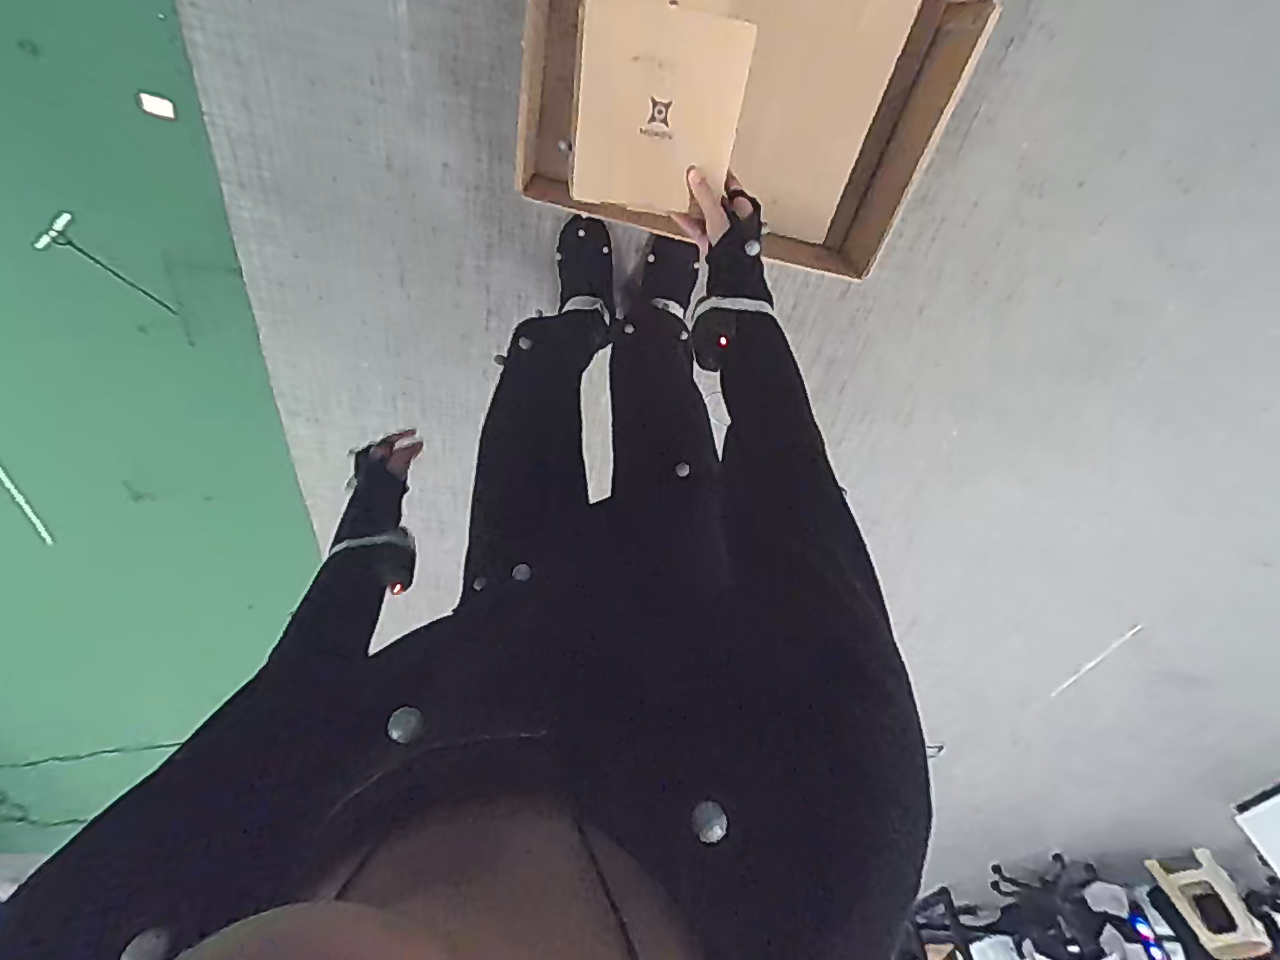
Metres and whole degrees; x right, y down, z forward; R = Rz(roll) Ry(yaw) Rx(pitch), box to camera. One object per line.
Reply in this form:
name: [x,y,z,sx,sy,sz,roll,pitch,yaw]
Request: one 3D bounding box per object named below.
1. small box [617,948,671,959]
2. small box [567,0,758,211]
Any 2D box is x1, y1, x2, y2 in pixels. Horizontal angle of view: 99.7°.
small box: [0.013,1.763,1.893,0.179,0.176,0.168,8,130,-6]
small box: [0.010,-0.423,0.602,0.168,0.176,0.179,4,126,-11]
